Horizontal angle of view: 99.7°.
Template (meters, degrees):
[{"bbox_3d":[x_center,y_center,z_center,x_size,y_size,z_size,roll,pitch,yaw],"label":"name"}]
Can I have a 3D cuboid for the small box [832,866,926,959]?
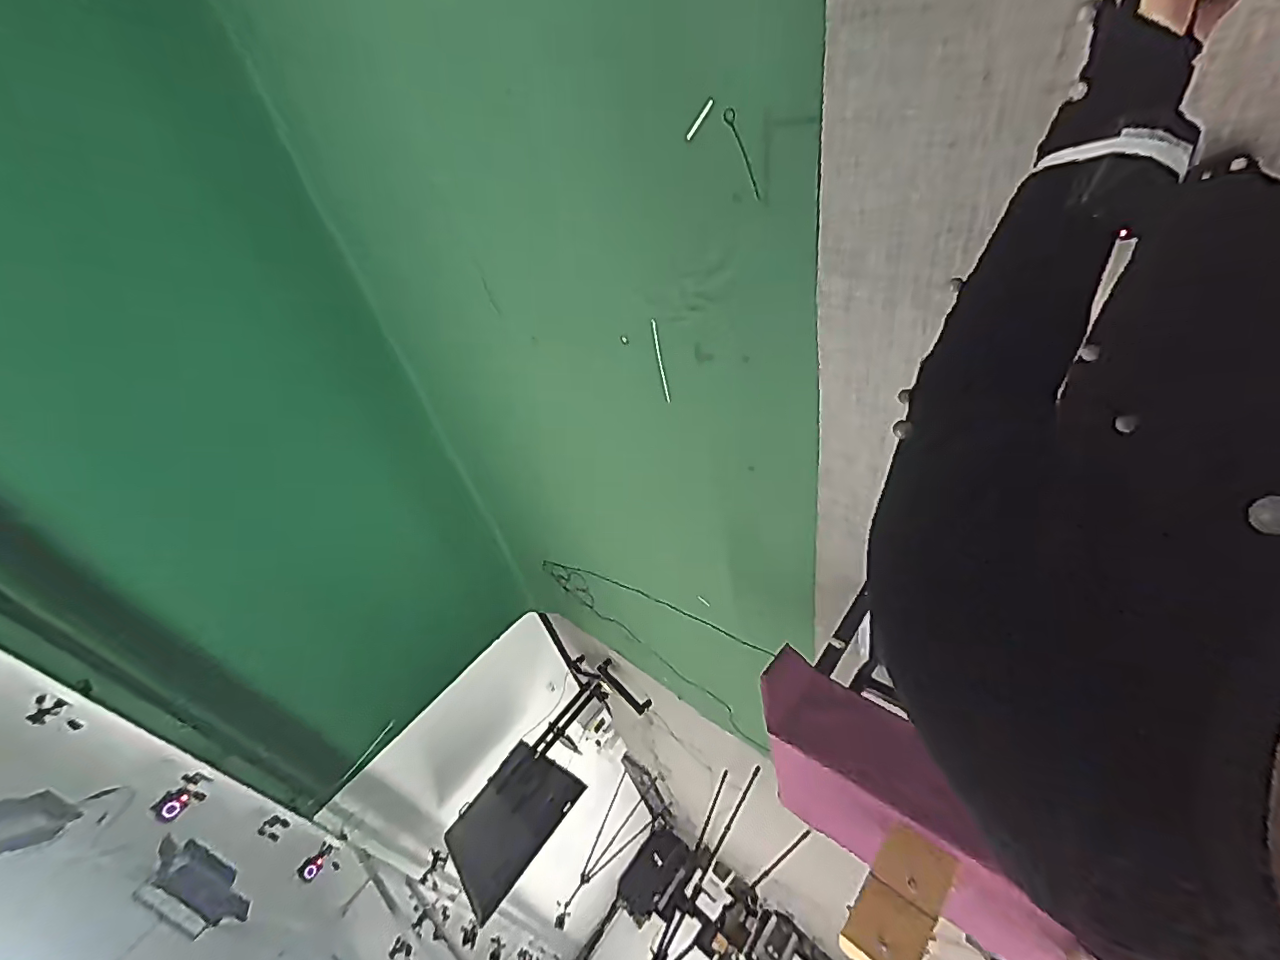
[{"bbox_3d":[0.629,1.165,1.429,0.179,0.176,0.168,20,141,37],"label":"small box"}]

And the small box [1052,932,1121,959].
[{"bbox_3d":[1.059,1.200,1.247,0.168,0.176,0.179,22,143,36],"label":"small box"}]

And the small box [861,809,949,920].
[{"bbox_3d":[0.734,1.068,1.506,0.179,0.176,0.168,22,143,37],"label":"small box"}]
